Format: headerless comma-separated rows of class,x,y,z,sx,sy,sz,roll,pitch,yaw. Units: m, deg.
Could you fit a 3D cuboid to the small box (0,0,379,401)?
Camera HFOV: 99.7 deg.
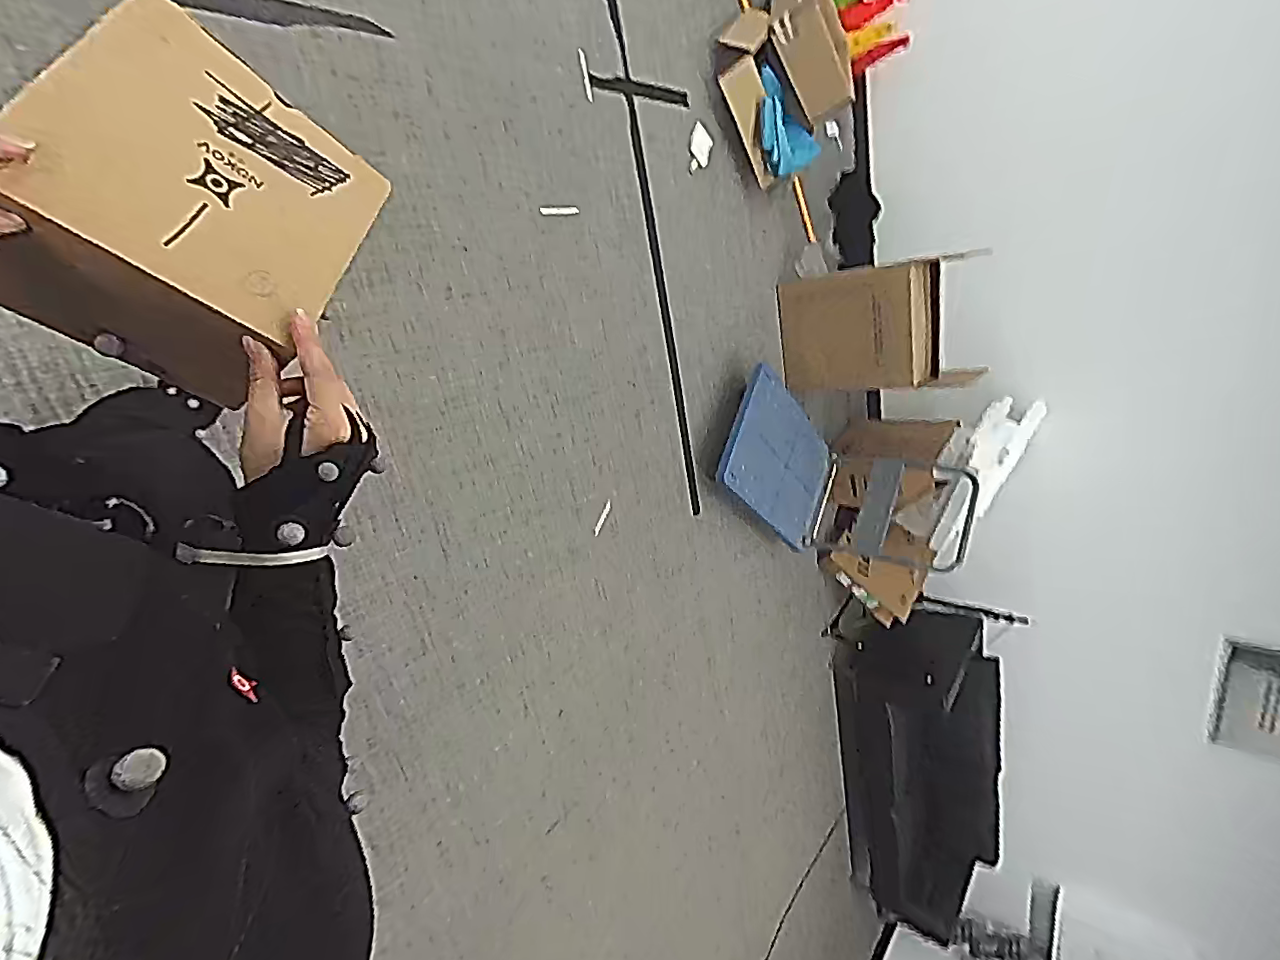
small box,-0.337,-0.185,0.402,0.168,0.176,0.179,33,58,-40
